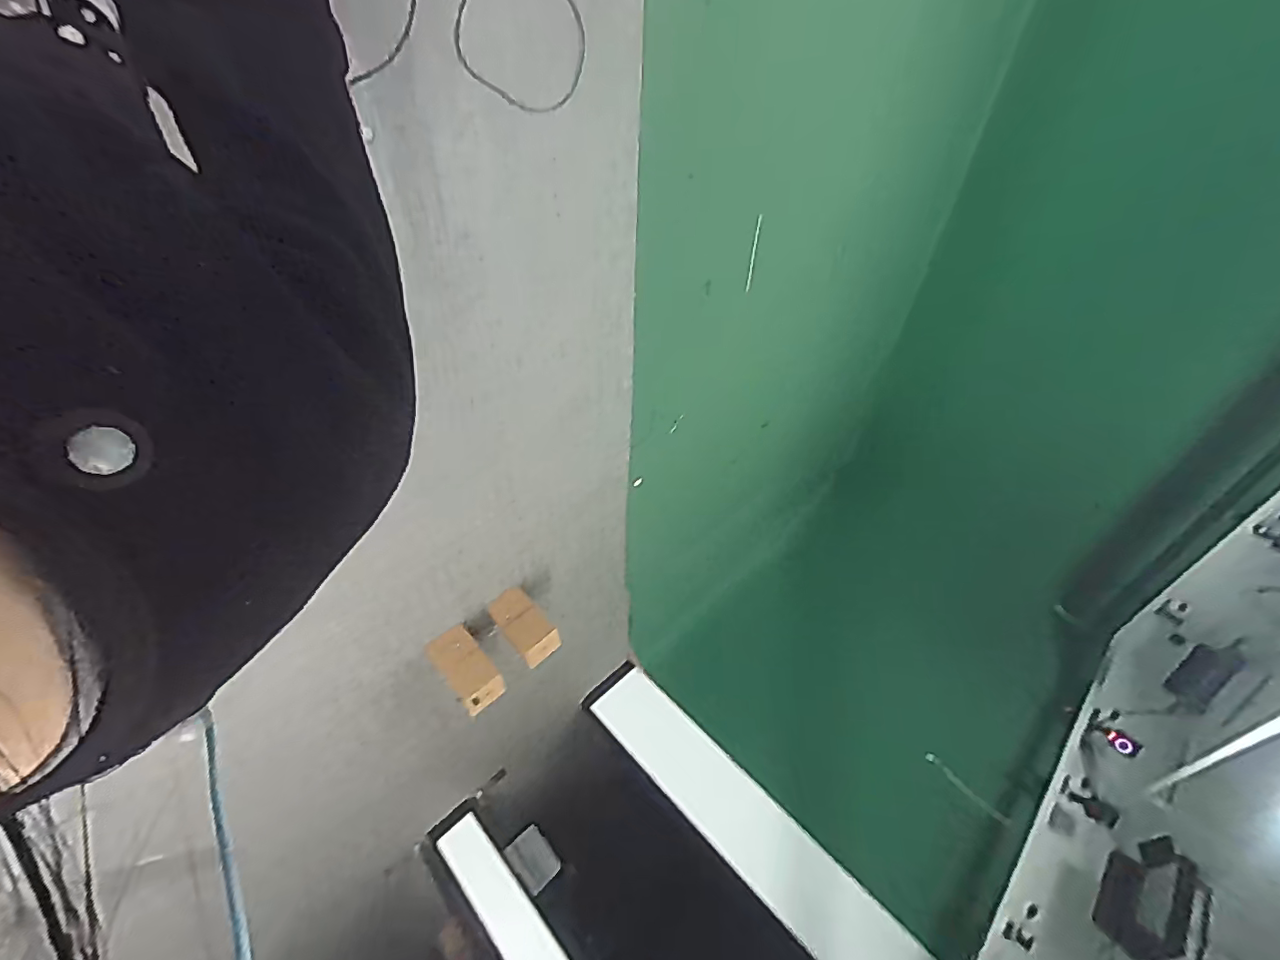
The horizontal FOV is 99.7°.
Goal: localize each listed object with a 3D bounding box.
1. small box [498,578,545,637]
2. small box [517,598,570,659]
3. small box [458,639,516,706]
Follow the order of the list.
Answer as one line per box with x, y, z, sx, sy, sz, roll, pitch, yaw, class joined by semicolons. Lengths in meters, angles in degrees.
-0.561;0.606;2.584;0.179;0.176;0.168;-36;144;-29;small box
-0.450;0.680;2.490;0.179;0.176;0.168;-36;144;-29;small box
-0.668;0.833;2.345;0.179;0.176;0.168;-35;144;-30;small box
